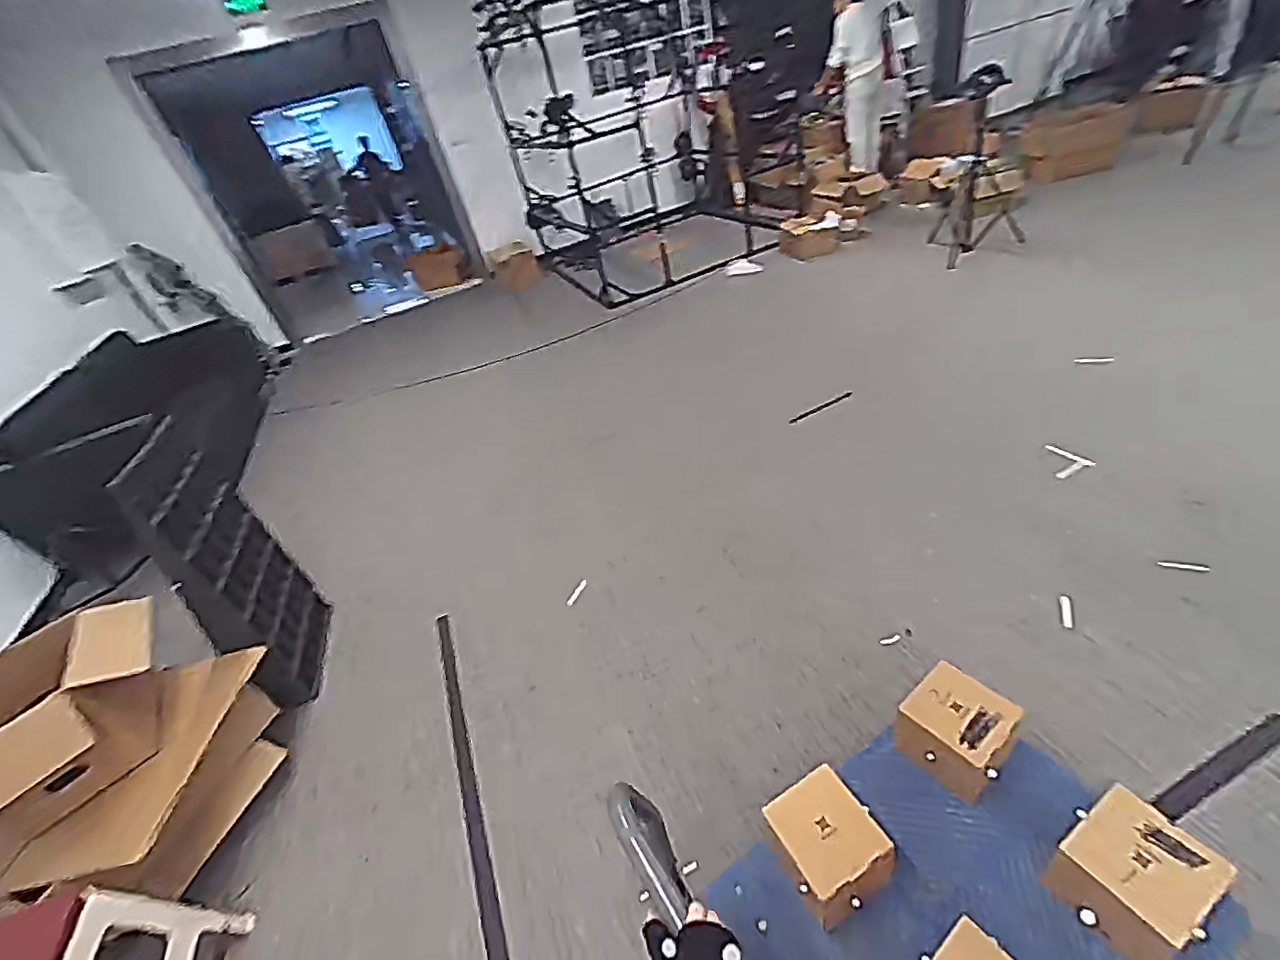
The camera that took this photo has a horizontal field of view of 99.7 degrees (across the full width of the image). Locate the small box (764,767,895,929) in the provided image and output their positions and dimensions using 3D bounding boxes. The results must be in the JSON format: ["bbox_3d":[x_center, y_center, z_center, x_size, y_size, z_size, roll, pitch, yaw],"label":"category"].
[{"bbox_3d":[0.363,0.714,1.052,0.168,0.176,0.179,-27,38,-16],"label":"small box"}]

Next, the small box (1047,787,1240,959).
[{"bbox_3d":[0.834,0.676,0.916,0.179,0.176,0.168,-30,38,-17],"label":"small box"}]
